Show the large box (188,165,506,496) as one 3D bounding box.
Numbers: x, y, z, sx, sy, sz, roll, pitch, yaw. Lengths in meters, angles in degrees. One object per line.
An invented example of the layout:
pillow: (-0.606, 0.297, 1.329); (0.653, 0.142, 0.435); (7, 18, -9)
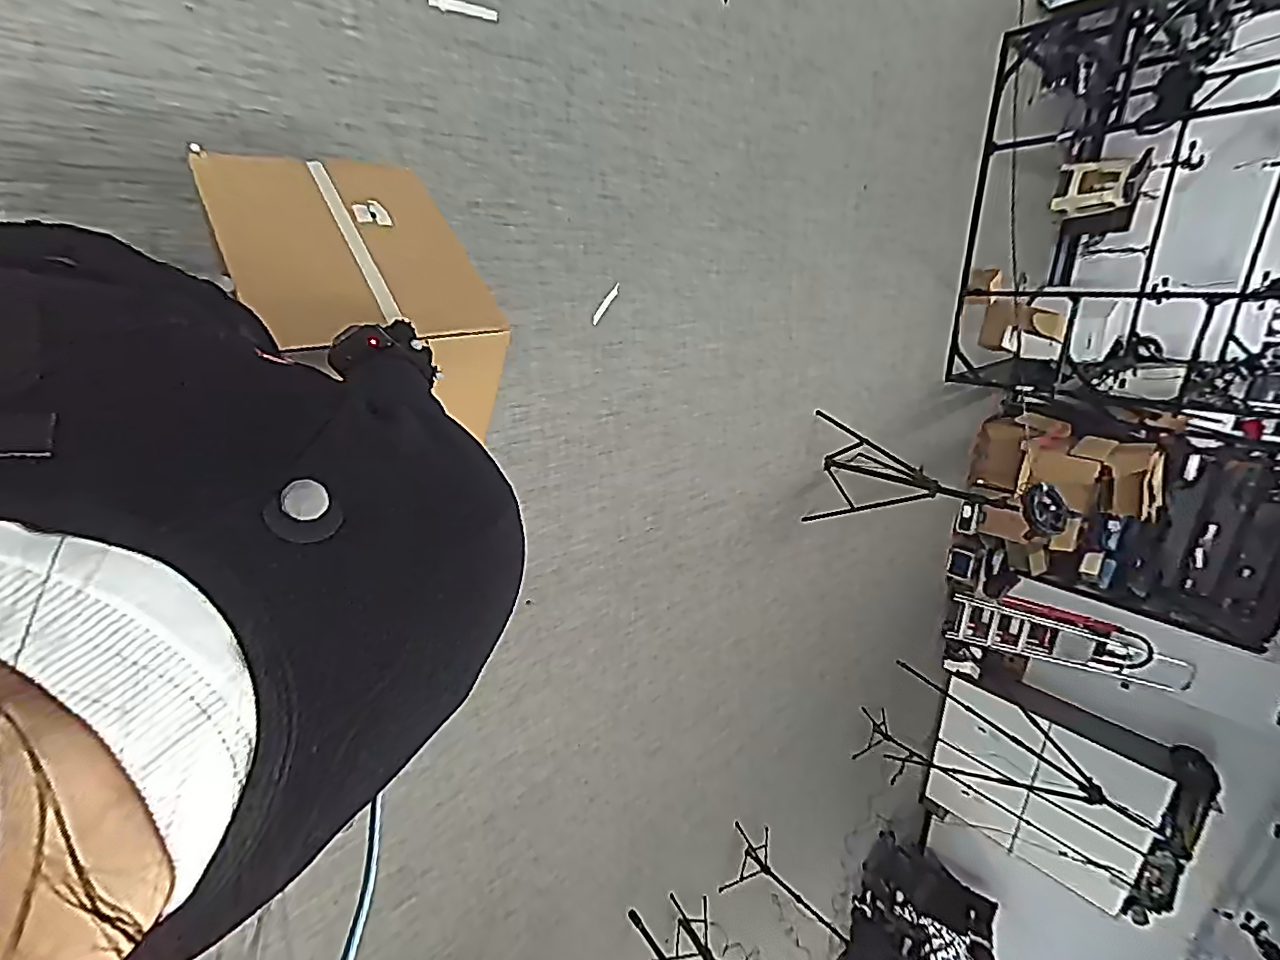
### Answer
large box: (-0.471, -0.246, 0.892); (0.320, 0.408, 0.320); (-18, 153, -37)
